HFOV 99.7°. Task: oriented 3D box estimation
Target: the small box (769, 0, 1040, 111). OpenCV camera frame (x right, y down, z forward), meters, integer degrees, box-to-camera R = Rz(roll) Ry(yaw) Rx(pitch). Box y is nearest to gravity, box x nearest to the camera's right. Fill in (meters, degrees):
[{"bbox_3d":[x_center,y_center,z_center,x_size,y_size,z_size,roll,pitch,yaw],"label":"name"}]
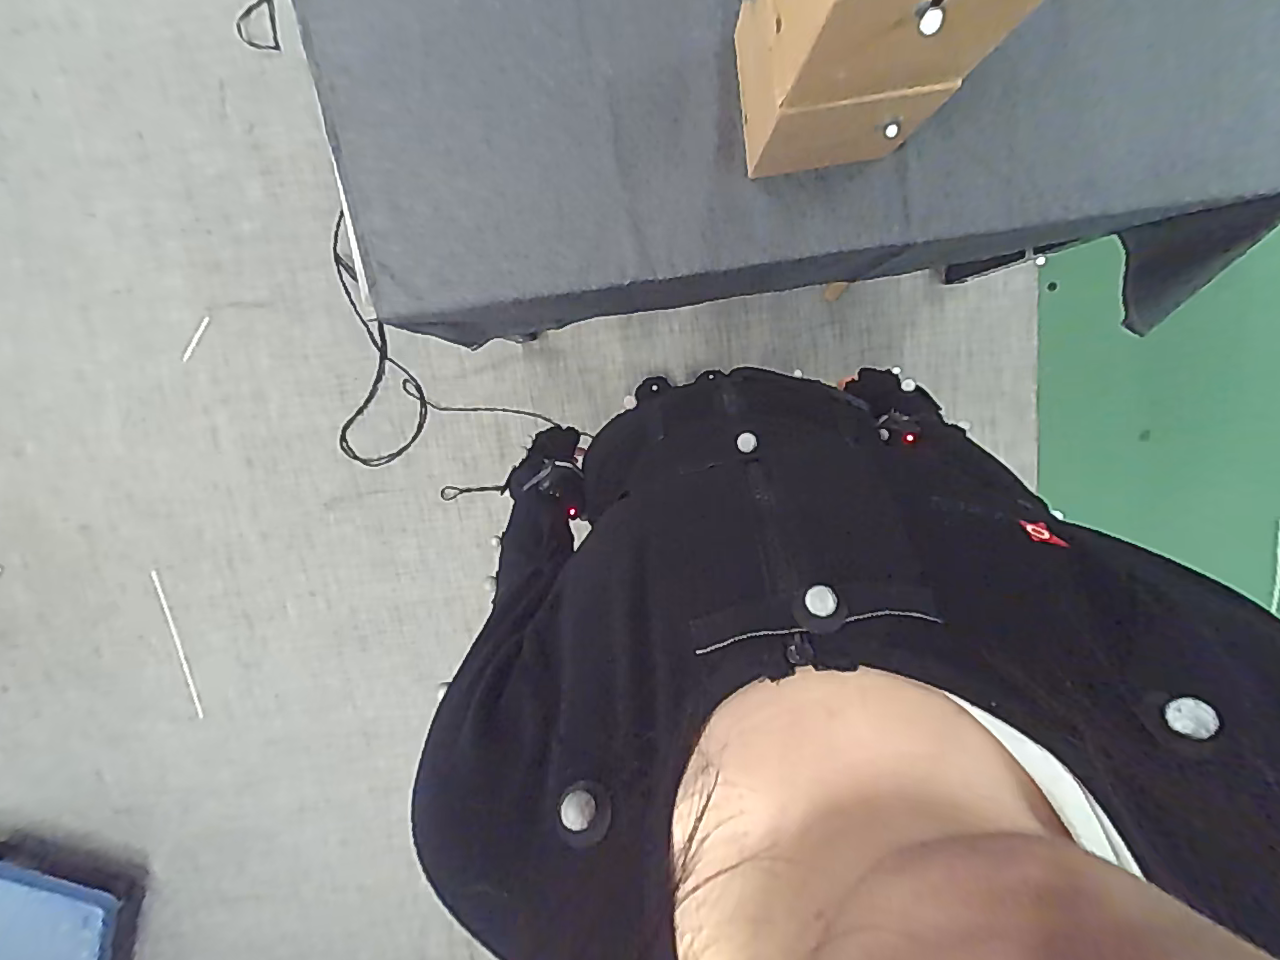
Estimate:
[{"bbox_3d":[0.207,-0.430,0.426,0.179,0.176,0.168,-8,99,3],"label":"small box"}]
